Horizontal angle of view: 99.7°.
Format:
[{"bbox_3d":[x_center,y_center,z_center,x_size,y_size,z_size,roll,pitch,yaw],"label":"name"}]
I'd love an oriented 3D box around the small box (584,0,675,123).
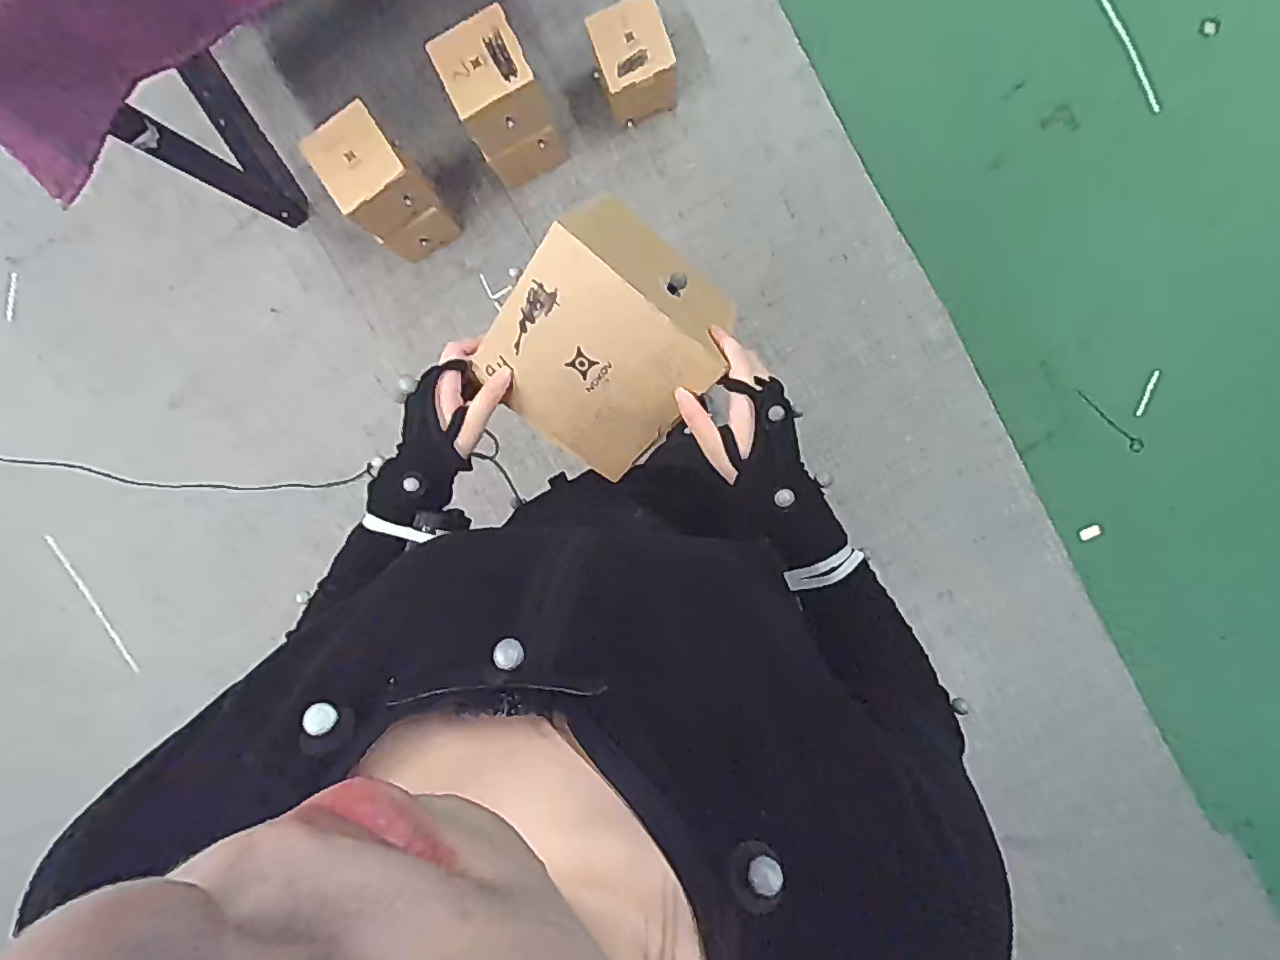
[{"bbox_3d":[-0.017,-1.003,1.303,0.168,0.176,0.179,-20,93,5],"label":"small box"}]
